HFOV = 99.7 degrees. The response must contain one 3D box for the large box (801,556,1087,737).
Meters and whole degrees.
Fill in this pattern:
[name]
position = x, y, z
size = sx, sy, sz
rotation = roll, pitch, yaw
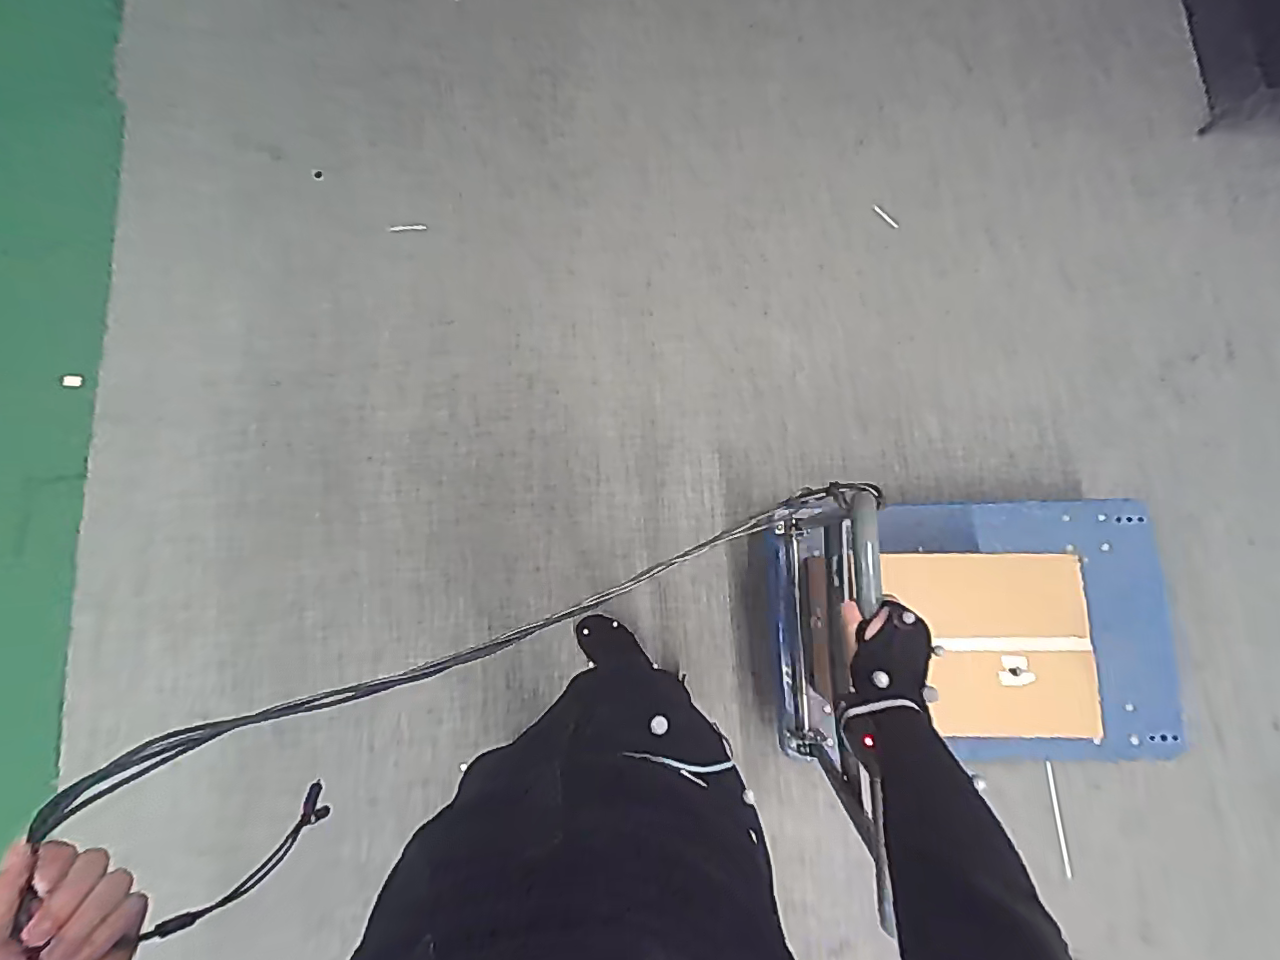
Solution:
[large box]
position = 0.575, 0.317, 1.106
size = 0.408, 0.320, 0.320
rotation = 0, 82, 2
